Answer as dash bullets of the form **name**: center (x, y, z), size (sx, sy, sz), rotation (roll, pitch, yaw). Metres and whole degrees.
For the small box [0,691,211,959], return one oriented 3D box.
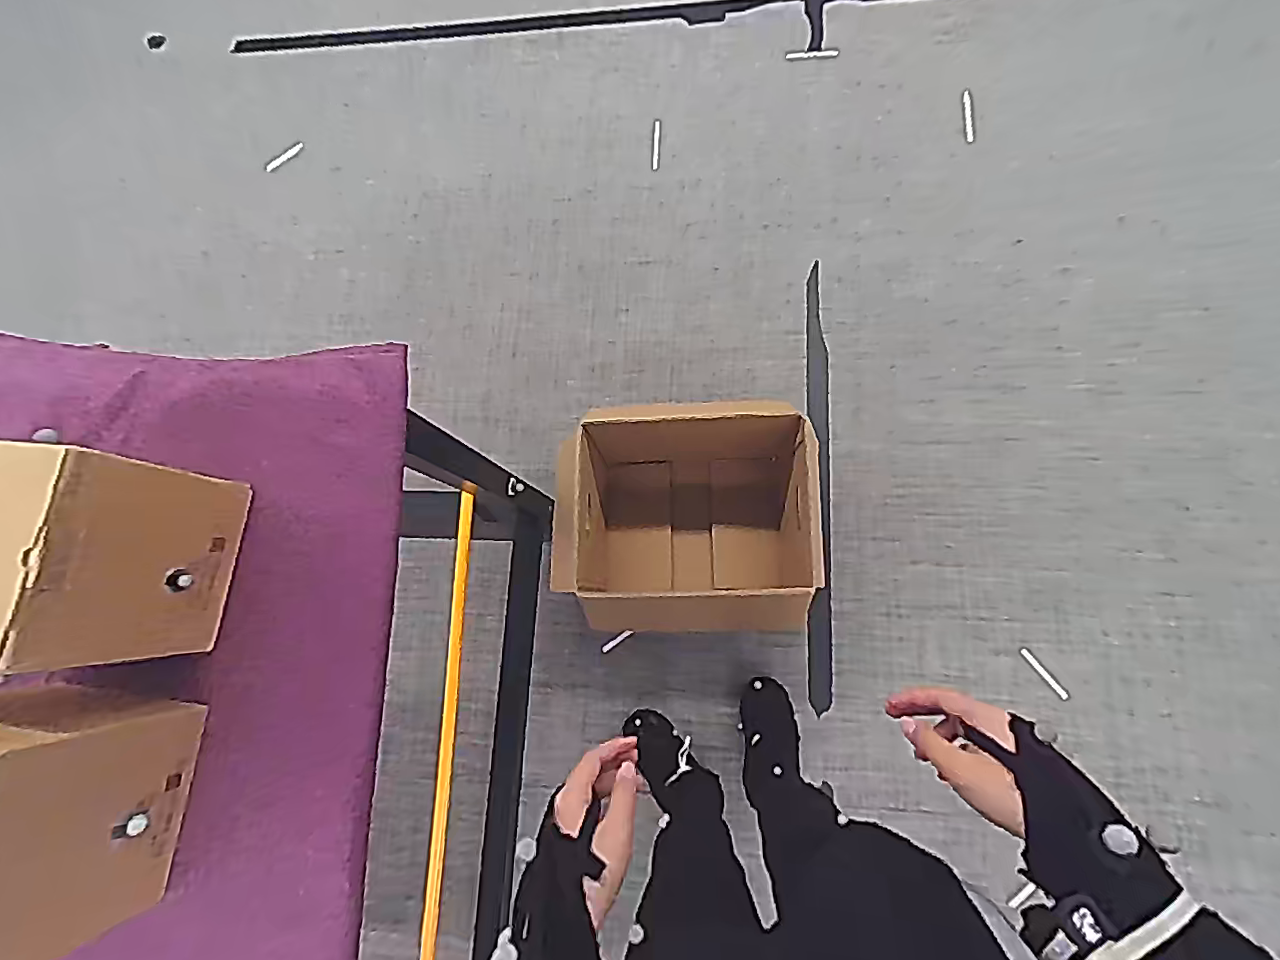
- **small box**: center (-0.511, 0.275, 0.436), size (0.179, 0.176, 0.168), rotation (4, 79, 8)

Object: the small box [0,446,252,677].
- **small box**: center (-0.502, 0.070, 0.479), size (0.179, 0.176, 0.168), rotation (4, 79, 8)
